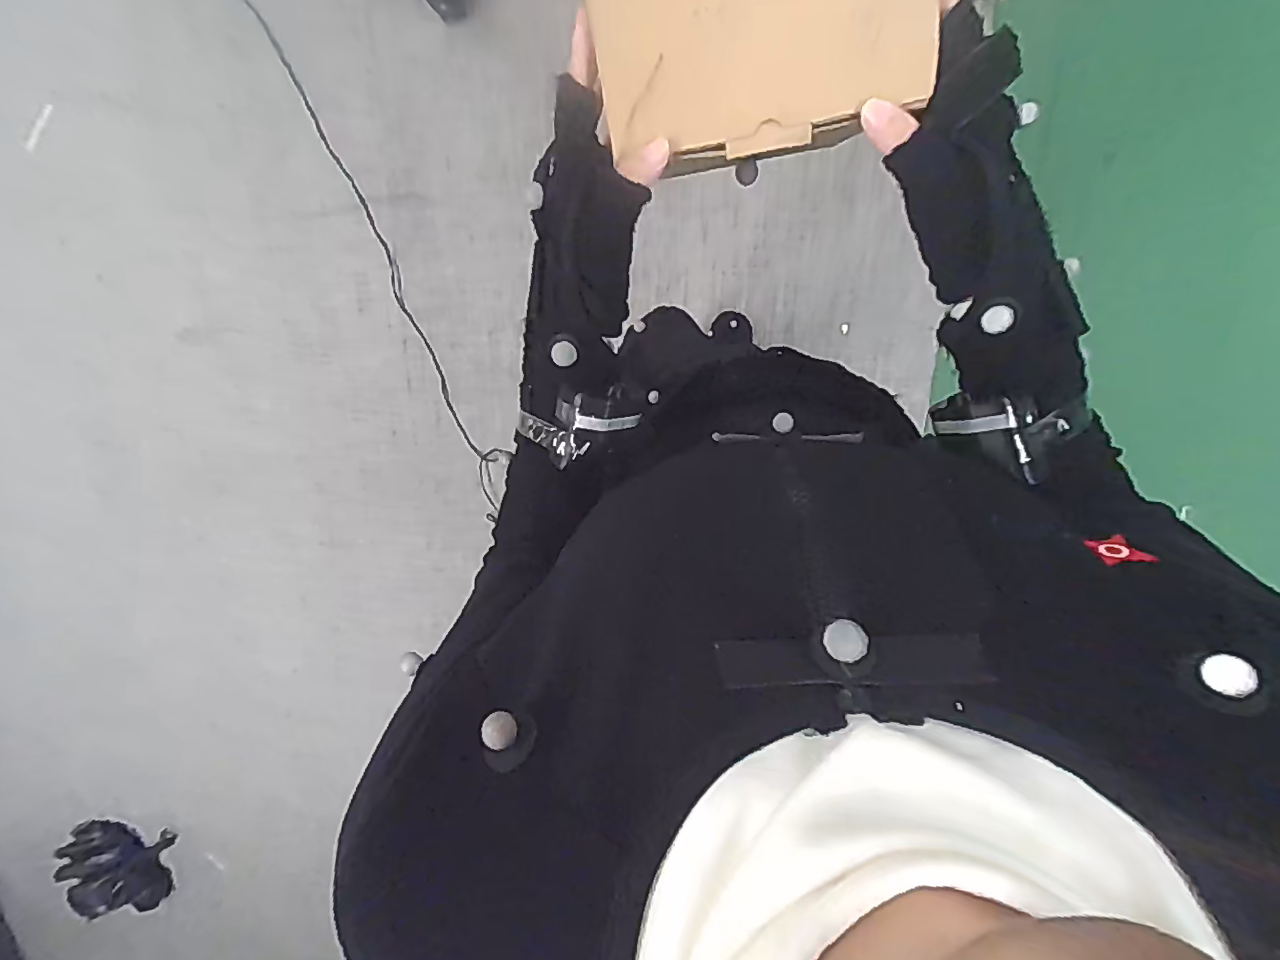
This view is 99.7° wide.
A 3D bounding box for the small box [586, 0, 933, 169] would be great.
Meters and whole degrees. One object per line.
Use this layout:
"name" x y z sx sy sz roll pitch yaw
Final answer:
"small box" 0.055 -0.294 0.316 0.168 0.176 0.179 -9 117 6
